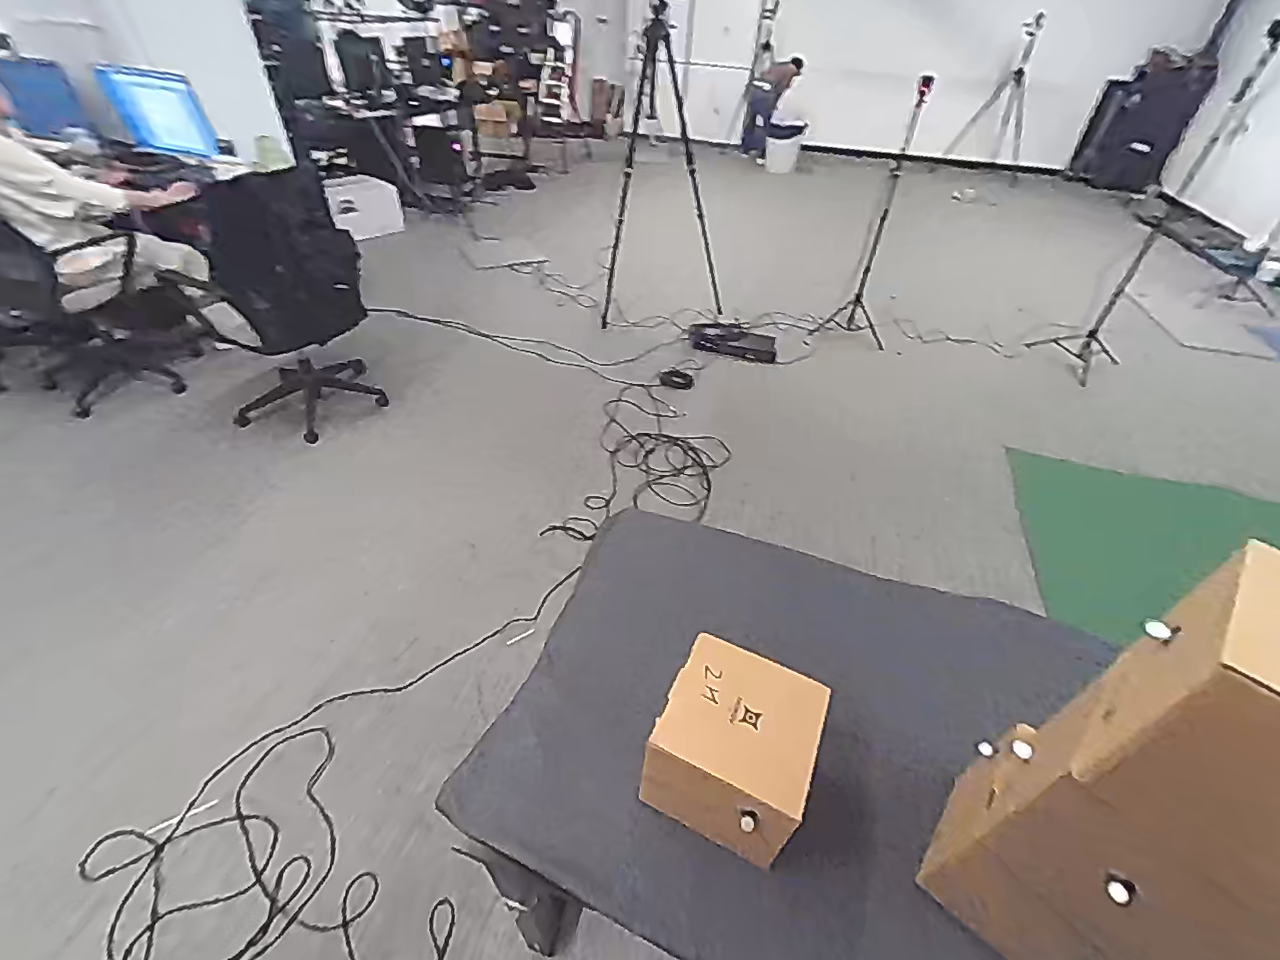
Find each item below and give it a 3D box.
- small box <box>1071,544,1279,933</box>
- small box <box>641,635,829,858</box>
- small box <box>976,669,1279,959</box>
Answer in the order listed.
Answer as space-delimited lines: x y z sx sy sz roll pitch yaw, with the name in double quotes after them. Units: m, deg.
0.456 0.184 0.377 0.168 0.176 0.179 -29 51 -33 "small box"
0.114 0.336 0.680 0.179 0.176 0.168 20 42 18 "small box"
0.450 0.308 0.482 0.168 0.176 0.179 -27 49 -32 "small box"
